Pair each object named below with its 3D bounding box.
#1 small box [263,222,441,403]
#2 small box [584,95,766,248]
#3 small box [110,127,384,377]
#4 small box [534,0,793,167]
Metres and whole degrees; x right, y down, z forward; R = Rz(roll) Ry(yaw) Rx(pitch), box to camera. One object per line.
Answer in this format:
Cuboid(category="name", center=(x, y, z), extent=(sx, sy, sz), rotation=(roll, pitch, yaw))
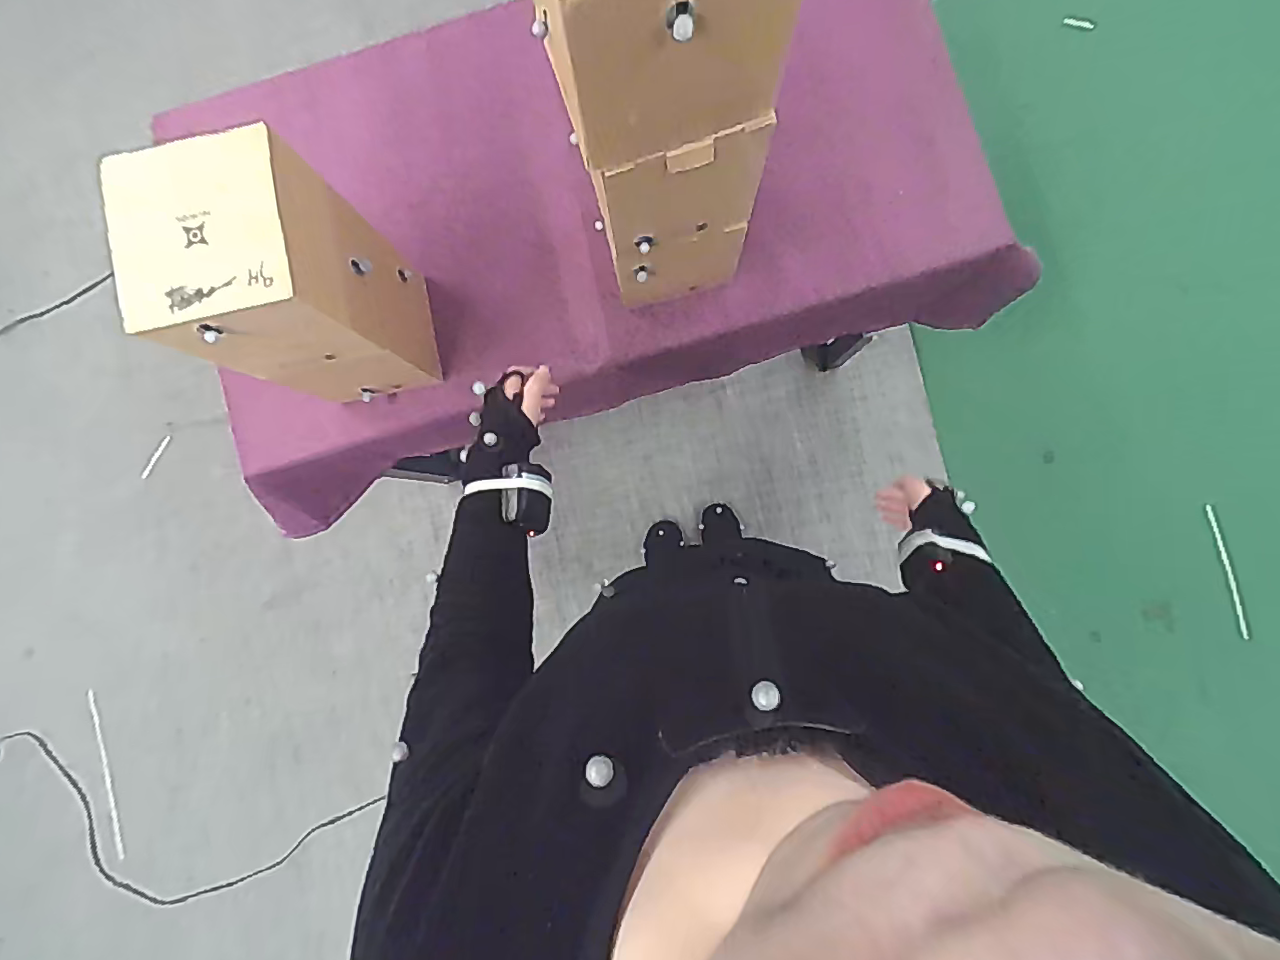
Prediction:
Cuboid(category="small box", center=(-0.398, -0.220, 0.751), extent=(0.168, 0.176, 0.179), rotation=(-11, 87, 3))
Cuboid(category="small box", center=(0.020, -0.373, 0.574), extent=(0.168, 0.176, 0.179), rotation=(-17, 84, 2))
Cuboid(category="small box", center=(-0.407, -0.229, 0.586), extent=(0.168, 0.176, 0.179), rotation=(-11, 85, 3))
Cuboid(category="small box", center=(0.007, -0.385, 0.412), extent=(0.179, 0.176, 0.168), rotation=(-18, 85, 3))
